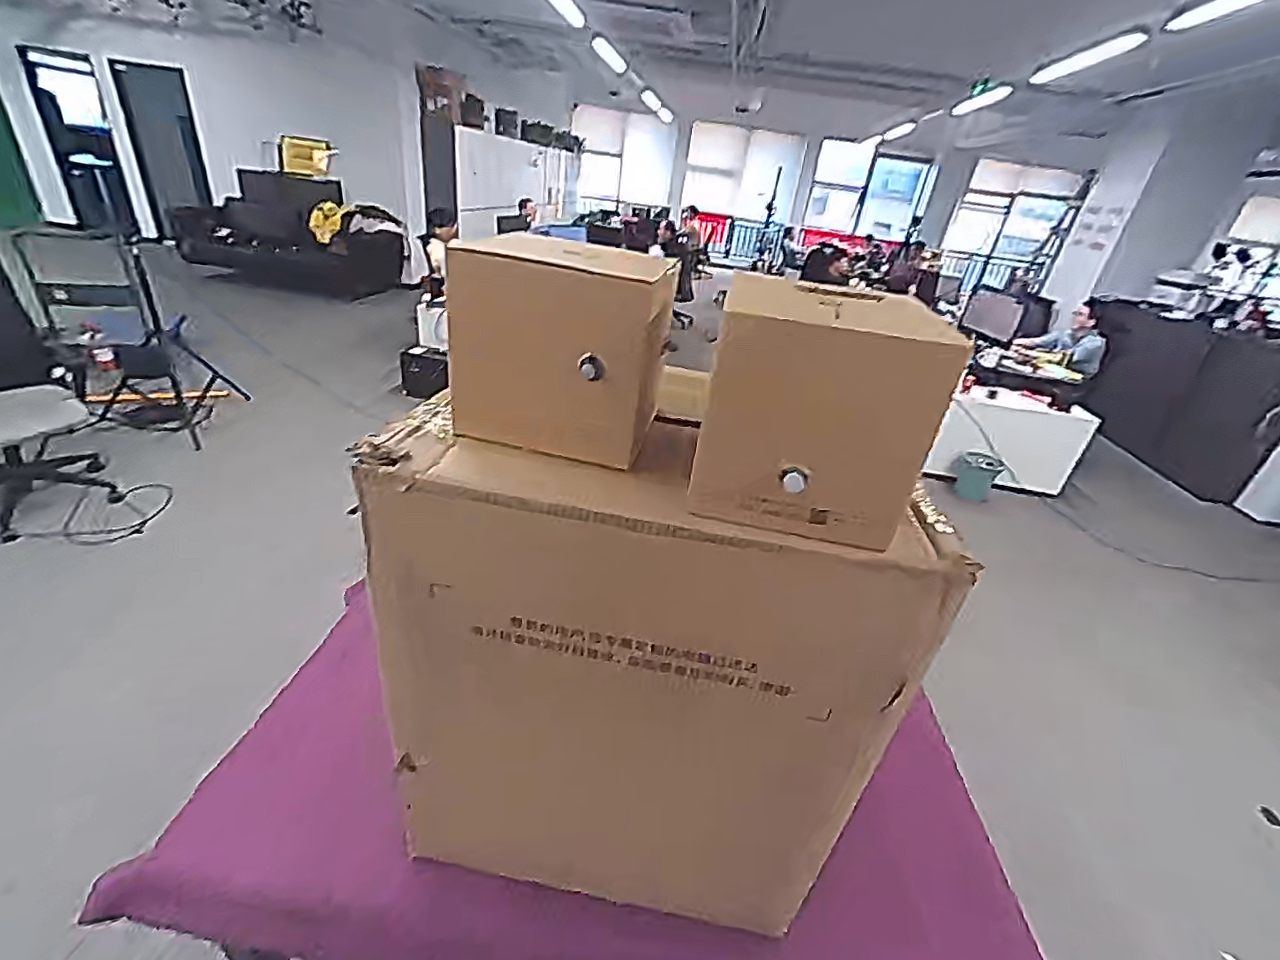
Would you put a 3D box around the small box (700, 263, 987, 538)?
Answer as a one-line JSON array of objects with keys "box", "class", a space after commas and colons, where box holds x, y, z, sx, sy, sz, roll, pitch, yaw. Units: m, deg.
[{"box": [0.150, -0.077, 0.464, 0.168, 0.176, 0.179, 11, 29, 7], "class": "small box"}]

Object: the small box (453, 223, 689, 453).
[{"box": [-0.060, -0.140, 0.523, 0.179, 0.176, 0.168, 11, 28, 6], "class": "small box"}]
